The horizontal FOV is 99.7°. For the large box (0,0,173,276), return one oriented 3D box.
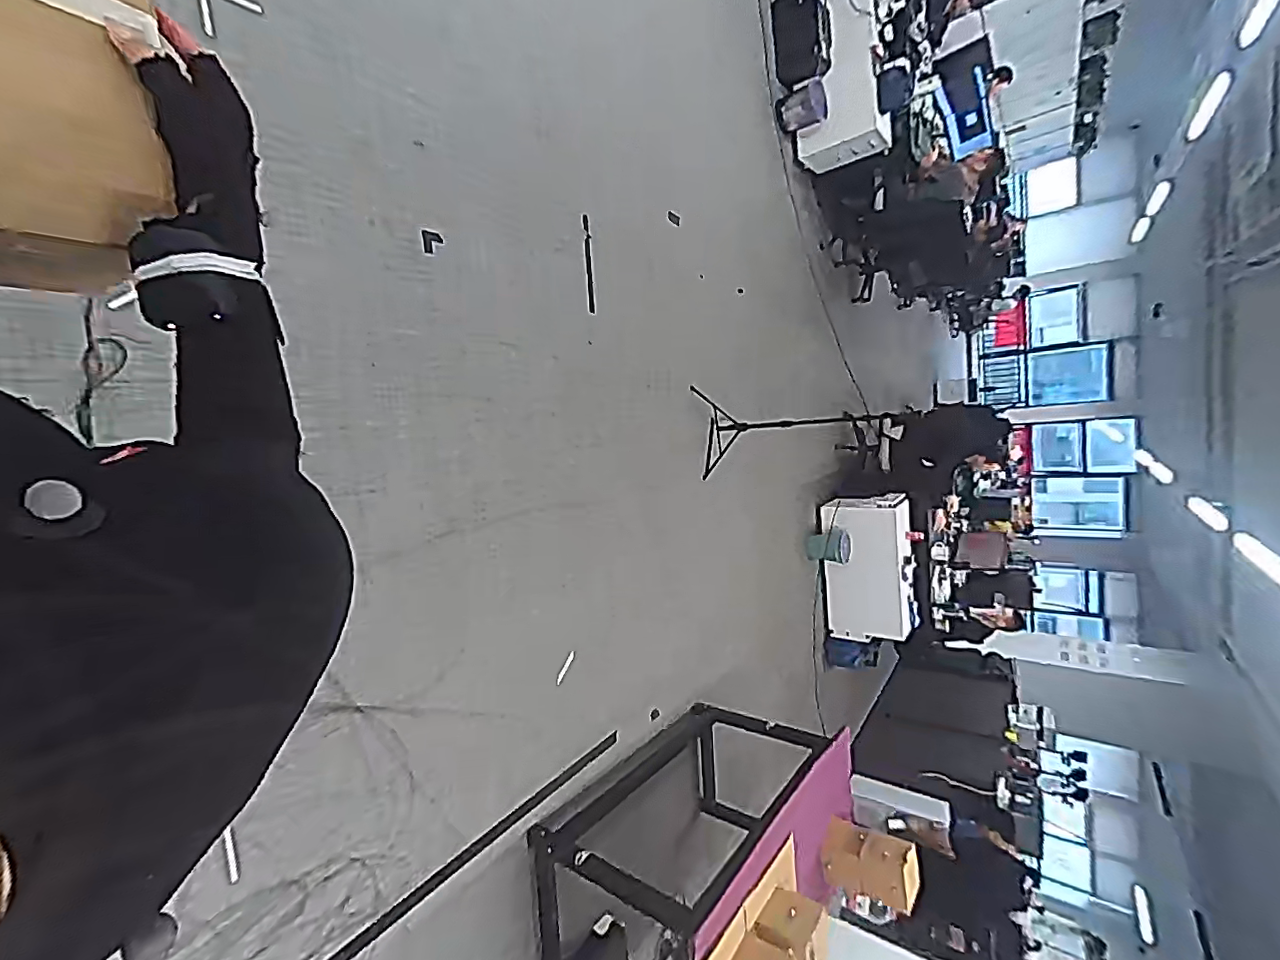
[{"bbox_3d":[-0.607,-0.331,0.332,0.408,0.320,0.320,-12,107,-54],"label":"large box"}]
